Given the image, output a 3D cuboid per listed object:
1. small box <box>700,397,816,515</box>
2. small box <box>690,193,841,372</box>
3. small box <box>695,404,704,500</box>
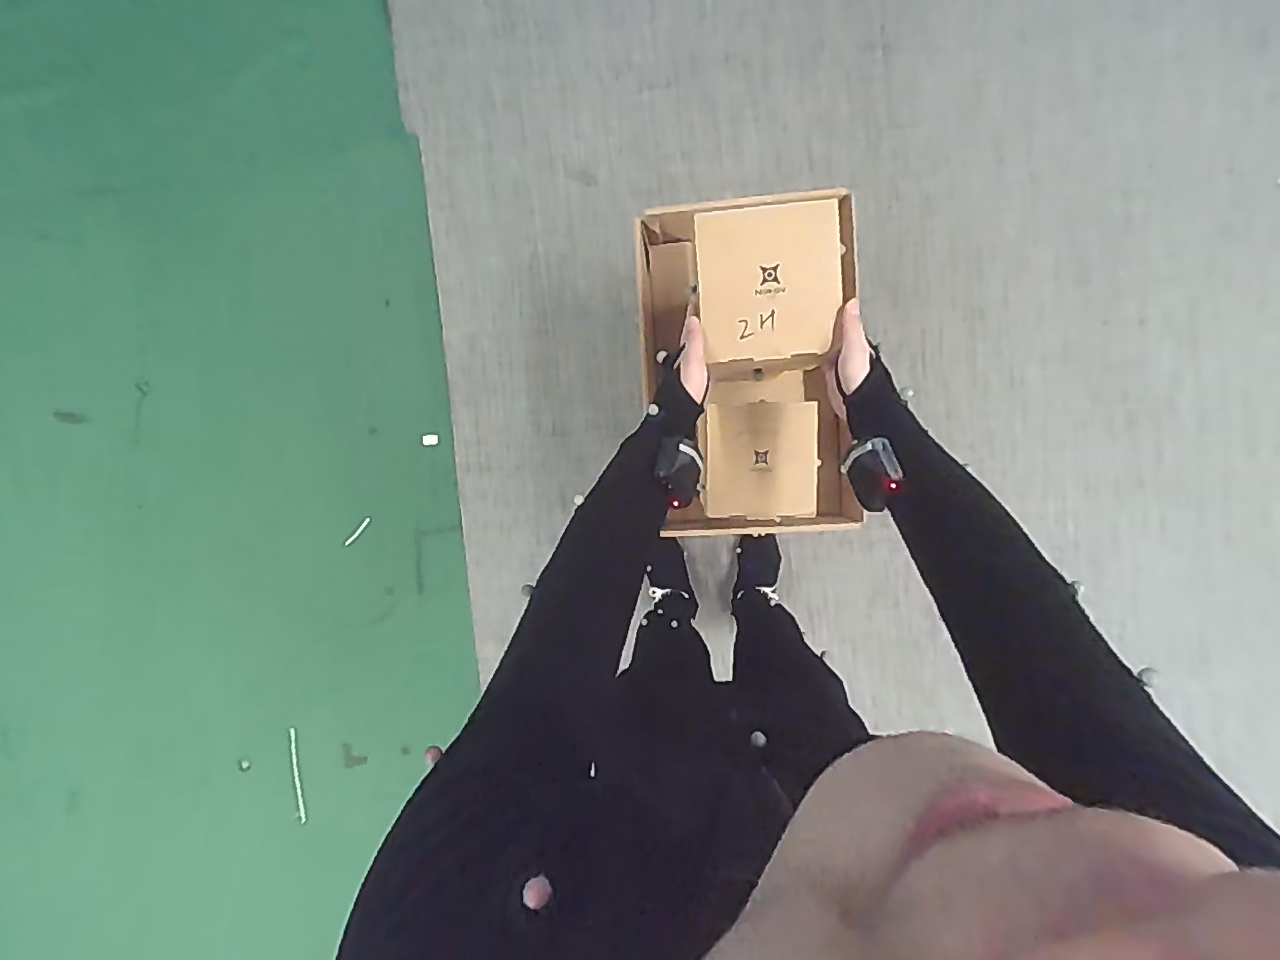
[{"bbox_3d":[0.186,-0.040,0.887,0.168,0.176,0.179,0,92,5],"label":"small box"},{"bbox_3d":[0.152,-0.241,0.701,0.168,0.176,0.179,-3,95,5],"label":"small box"},{"bbox_3d":[0.193,-0.055,1.049,0.168,0.176,0.179,-2,91,5],"label":"small box"}]
